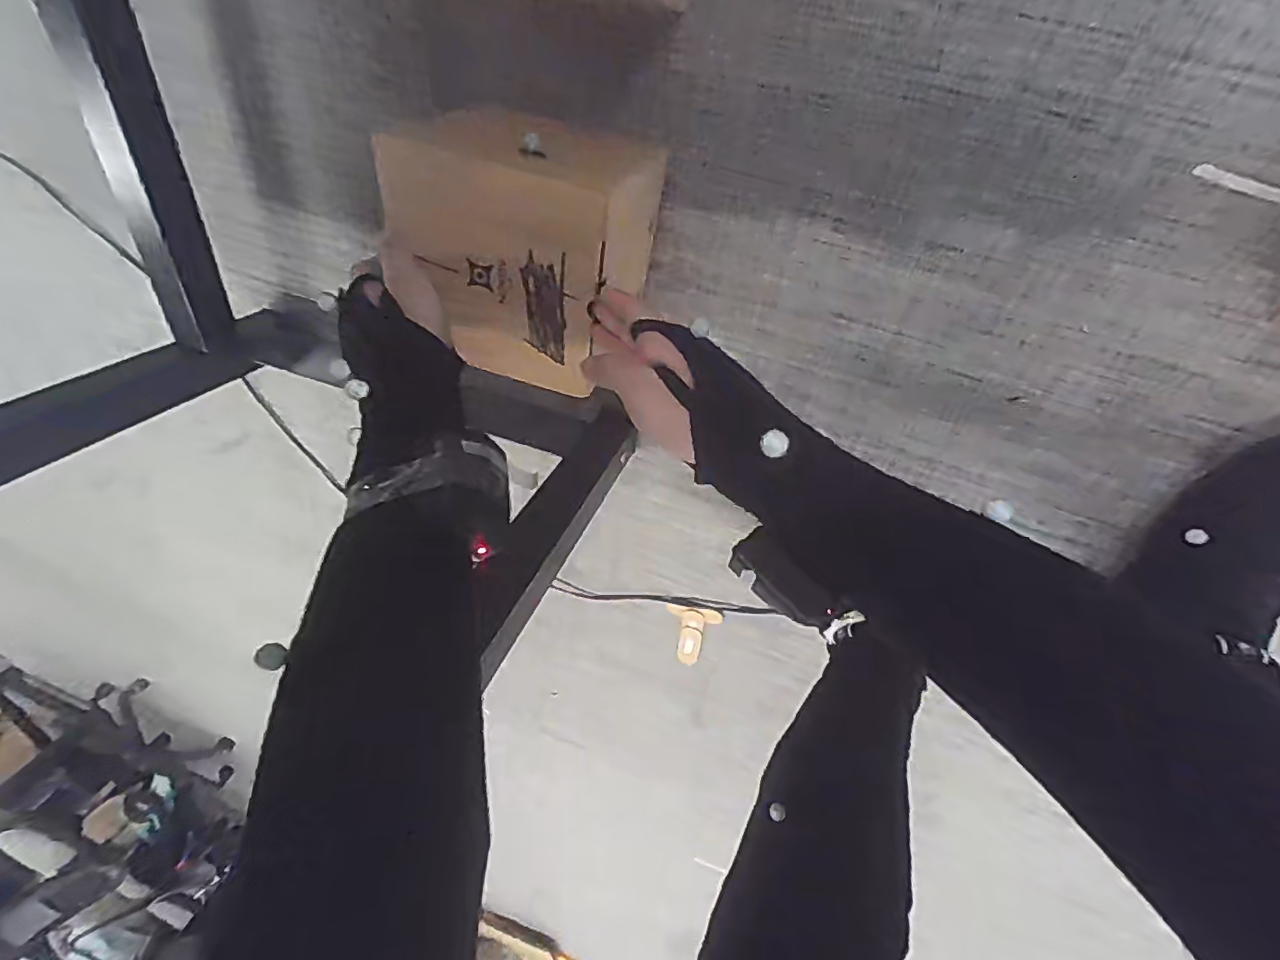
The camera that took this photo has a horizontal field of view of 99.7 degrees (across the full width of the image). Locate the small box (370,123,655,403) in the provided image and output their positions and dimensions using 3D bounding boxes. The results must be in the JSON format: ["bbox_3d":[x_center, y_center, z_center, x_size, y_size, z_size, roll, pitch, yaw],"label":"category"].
[{"bbox_3d":[-0.097,-0.198,0.478,0.179,0.176,0.168,18,131,7],"label":"small box"}]
